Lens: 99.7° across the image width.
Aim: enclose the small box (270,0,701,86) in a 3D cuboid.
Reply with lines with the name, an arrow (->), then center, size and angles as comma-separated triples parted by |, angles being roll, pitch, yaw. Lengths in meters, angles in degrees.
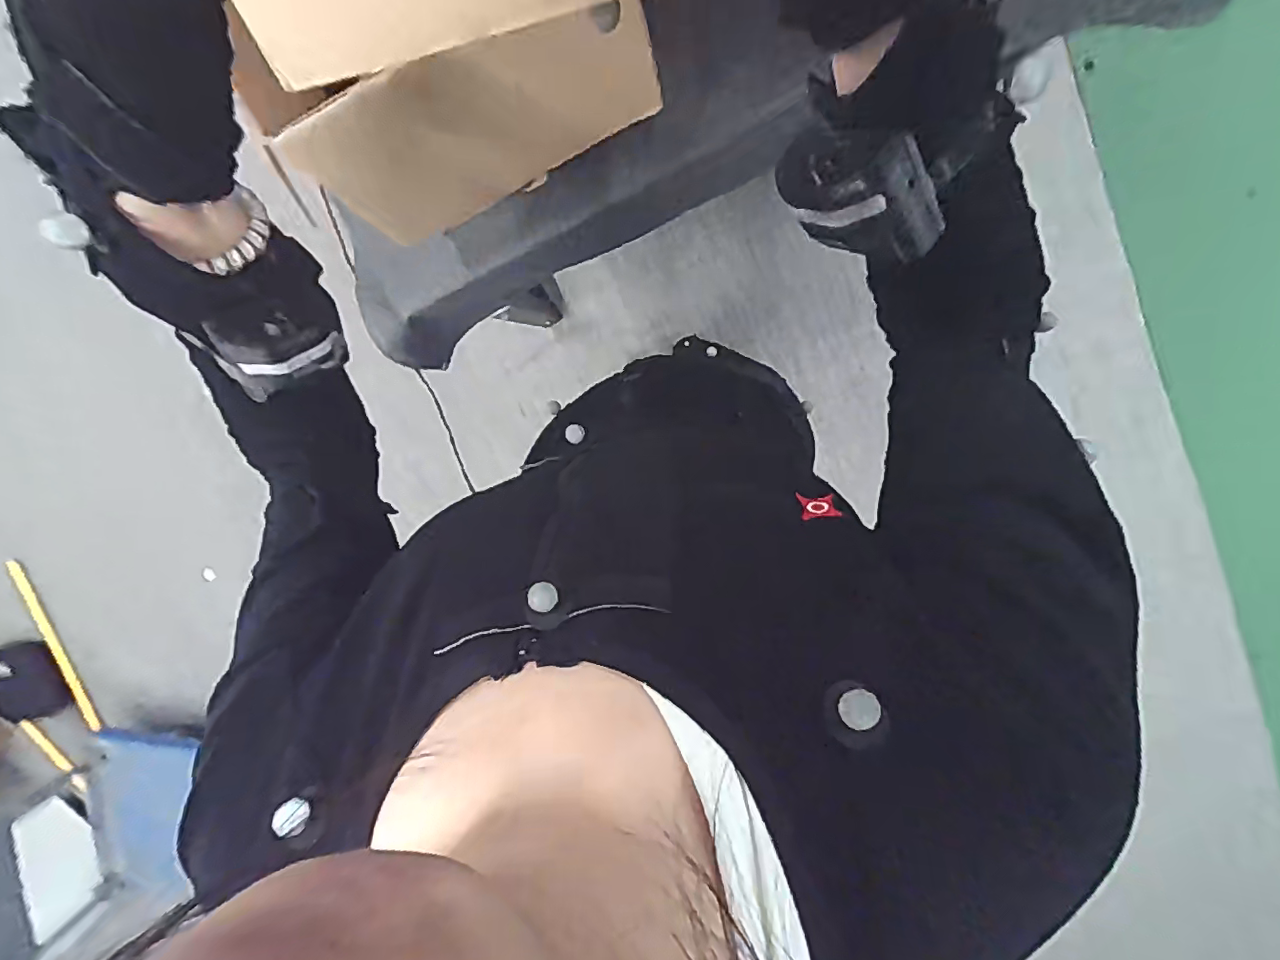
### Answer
small box -> -0.071, -0.281, 0.195 | 0.179, 0.176, 0.168 | -15, 142, -2
